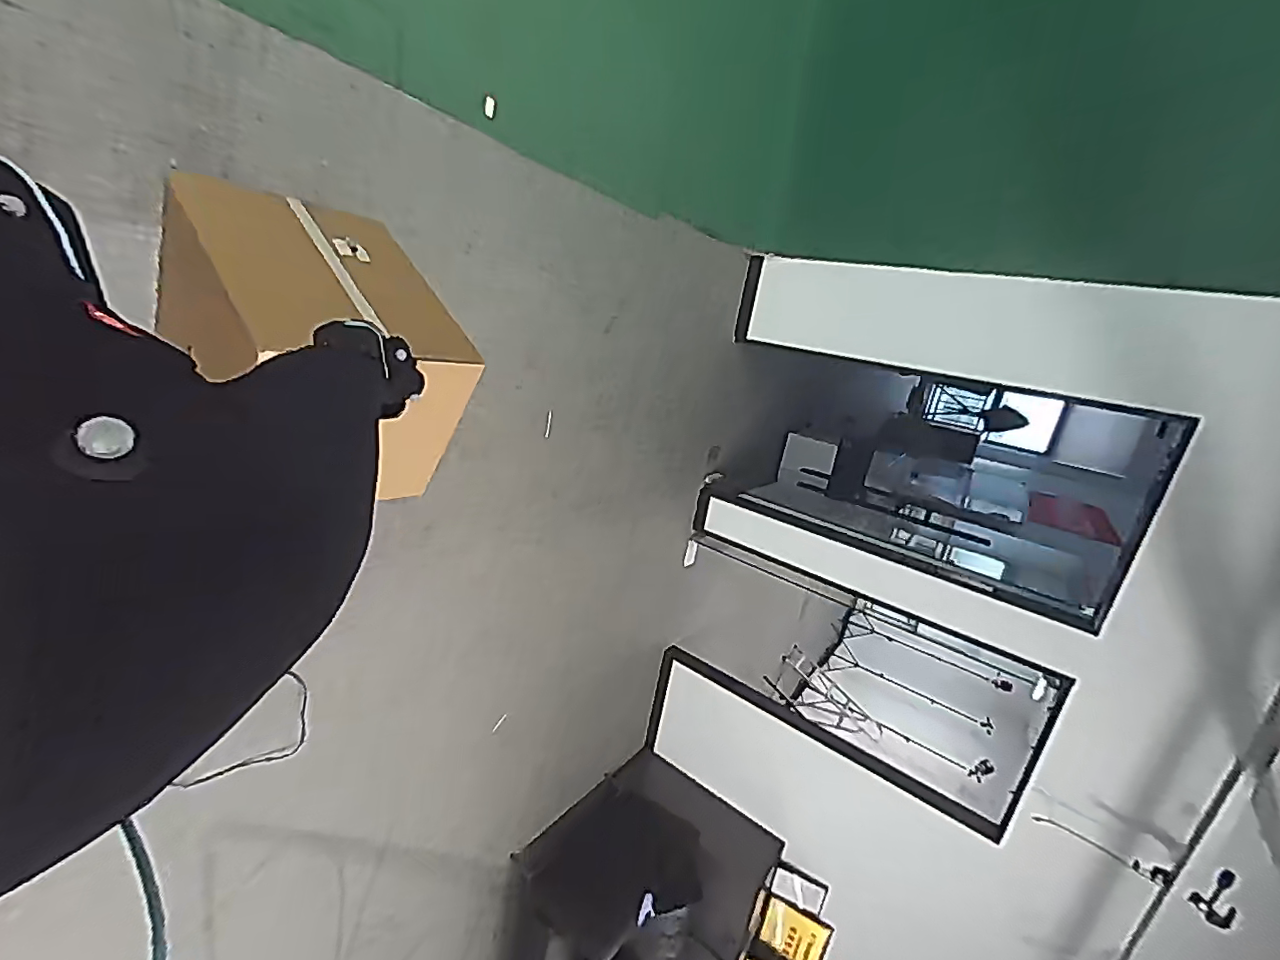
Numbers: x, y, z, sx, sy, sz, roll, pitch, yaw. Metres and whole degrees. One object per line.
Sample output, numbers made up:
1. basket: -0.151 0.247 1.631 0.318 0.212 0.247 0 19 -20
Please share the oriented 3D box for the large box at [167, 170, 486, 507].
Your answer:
1. large box: -0.530 -0.219 0.897 0.320 0.408 0.320 -11 145 -51
